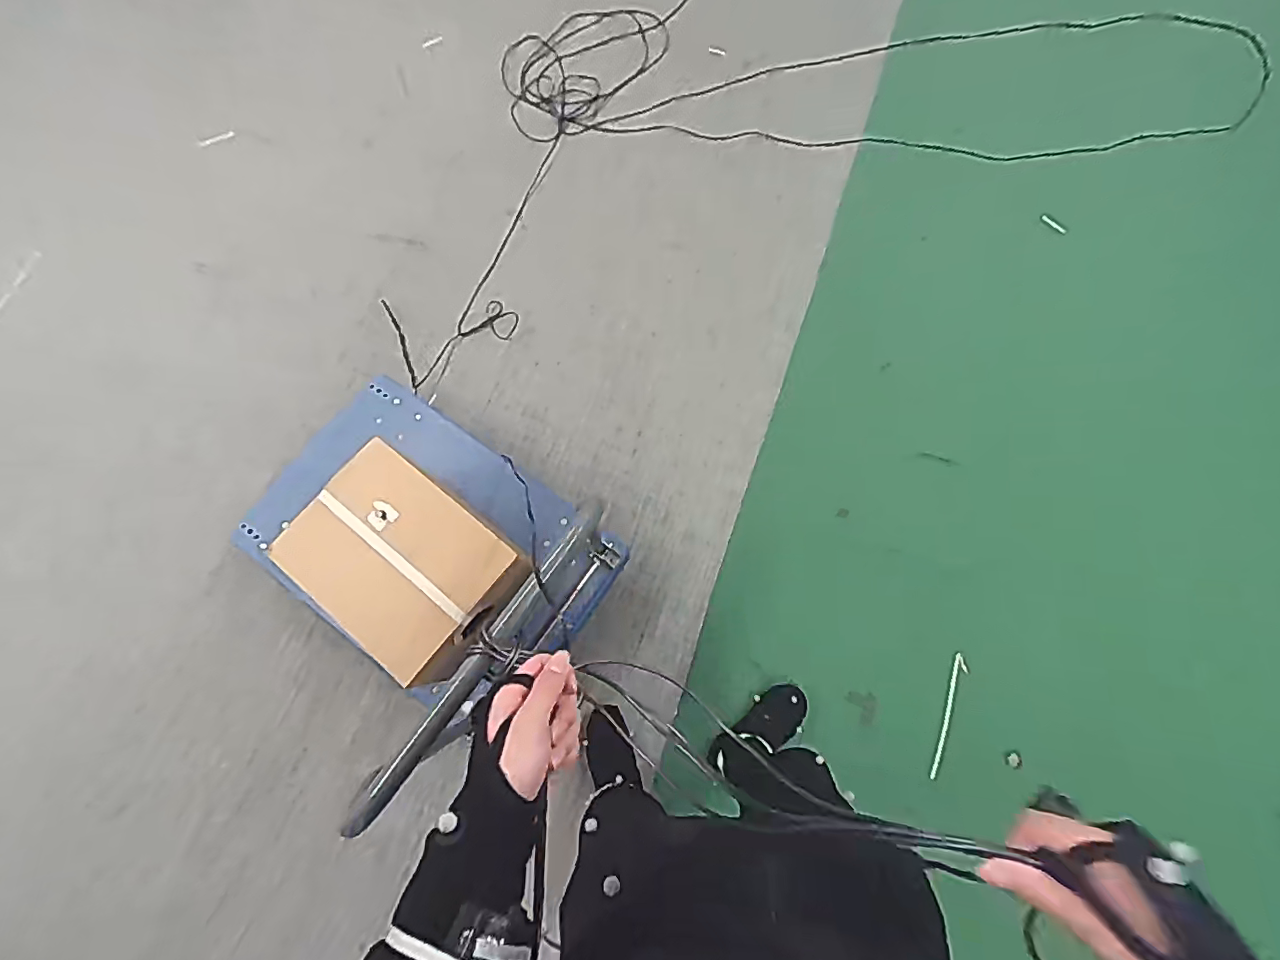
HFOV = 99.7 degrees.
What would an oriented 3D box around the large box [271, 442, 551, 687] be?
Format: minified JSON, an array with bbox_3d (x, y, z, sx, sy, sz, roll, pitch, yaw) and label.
[{"bbox_3d":[-0.465,0.189,1.184,0.408,0.320,0.320,37,78,12],"label":"large box"}]
